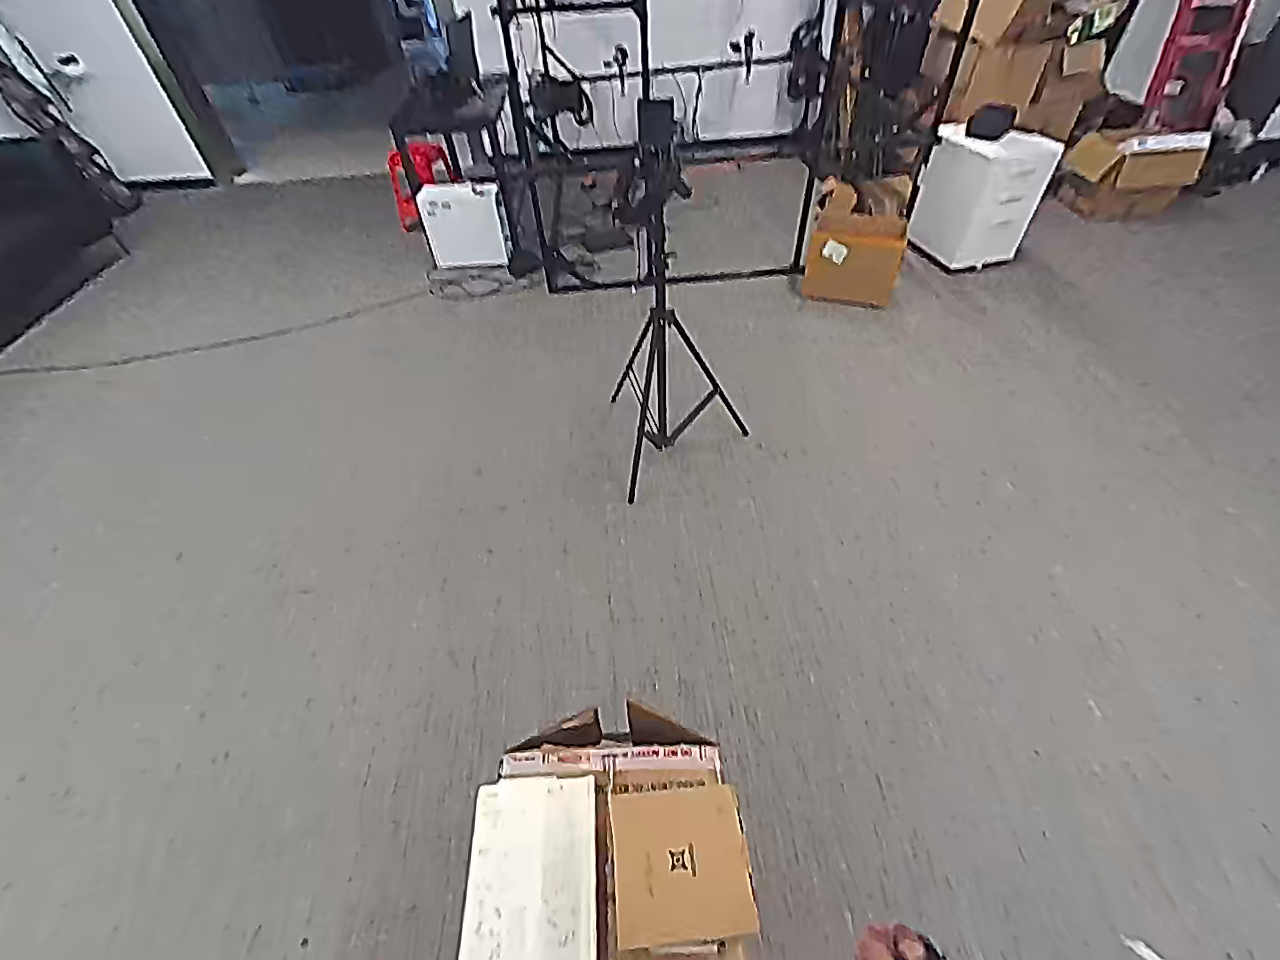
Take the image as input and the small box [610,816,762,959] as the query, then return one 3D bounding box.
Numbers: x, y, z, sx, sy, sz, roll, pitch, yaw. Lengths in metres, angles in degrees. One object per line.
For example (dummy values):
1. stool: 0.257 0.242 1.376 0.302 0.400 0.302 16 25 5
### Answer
1. small box: 0.052 0.578 0.741 0.179 0.176 0.168 -5 48 -3
